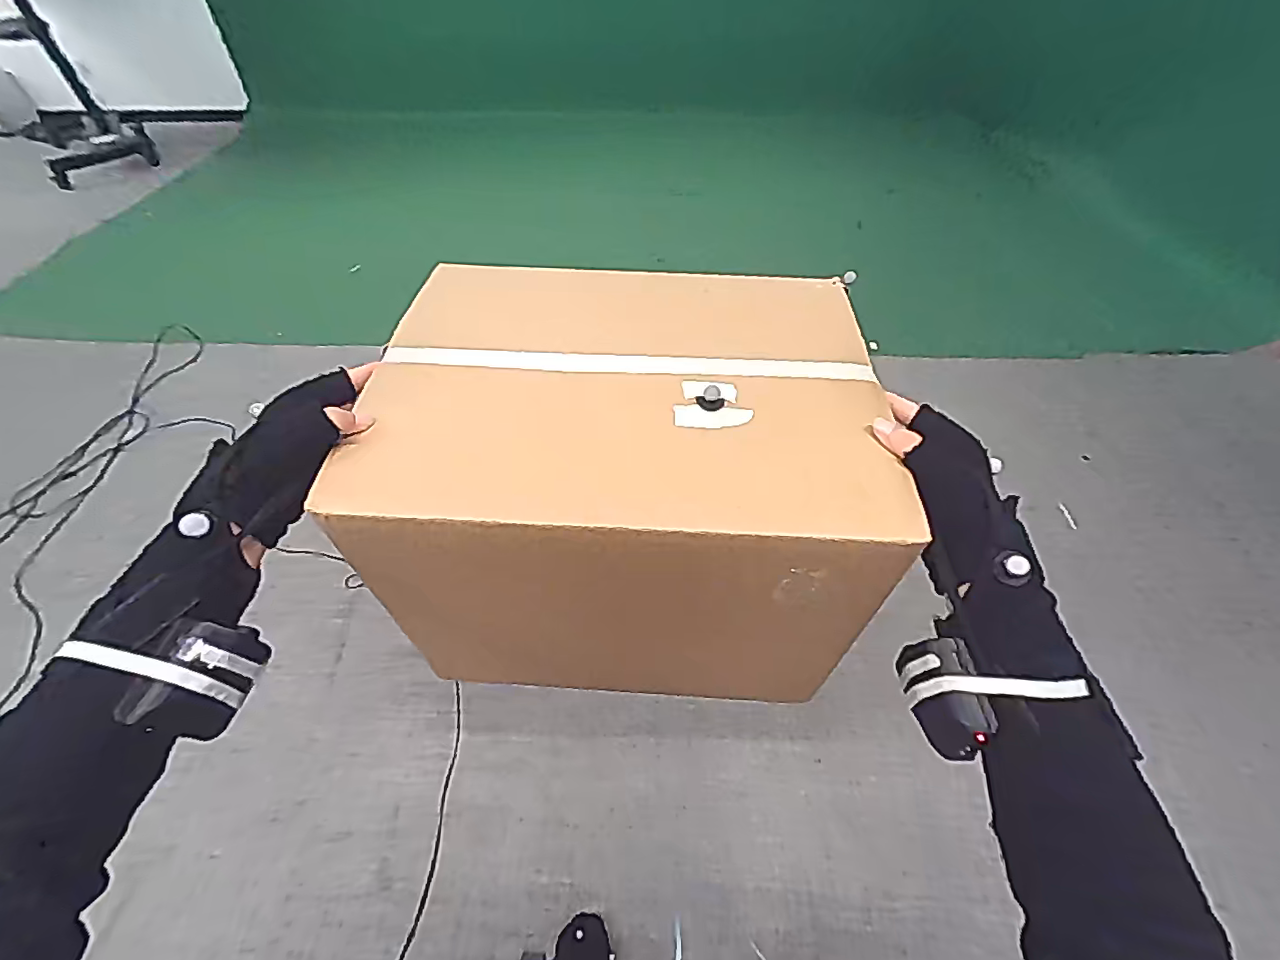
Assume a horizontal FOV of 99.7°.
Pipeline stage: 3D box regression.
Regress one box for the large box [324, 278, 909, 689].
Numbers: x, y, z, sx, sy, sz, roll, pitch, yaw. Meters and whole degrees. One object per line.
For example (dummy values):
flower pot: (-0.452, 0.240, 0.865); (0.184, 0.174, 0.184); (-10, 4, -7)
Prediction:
large box: (-0.015, 0.010, 0.569); (0.408, 0.320, 0.320); (2, 51, 1)
